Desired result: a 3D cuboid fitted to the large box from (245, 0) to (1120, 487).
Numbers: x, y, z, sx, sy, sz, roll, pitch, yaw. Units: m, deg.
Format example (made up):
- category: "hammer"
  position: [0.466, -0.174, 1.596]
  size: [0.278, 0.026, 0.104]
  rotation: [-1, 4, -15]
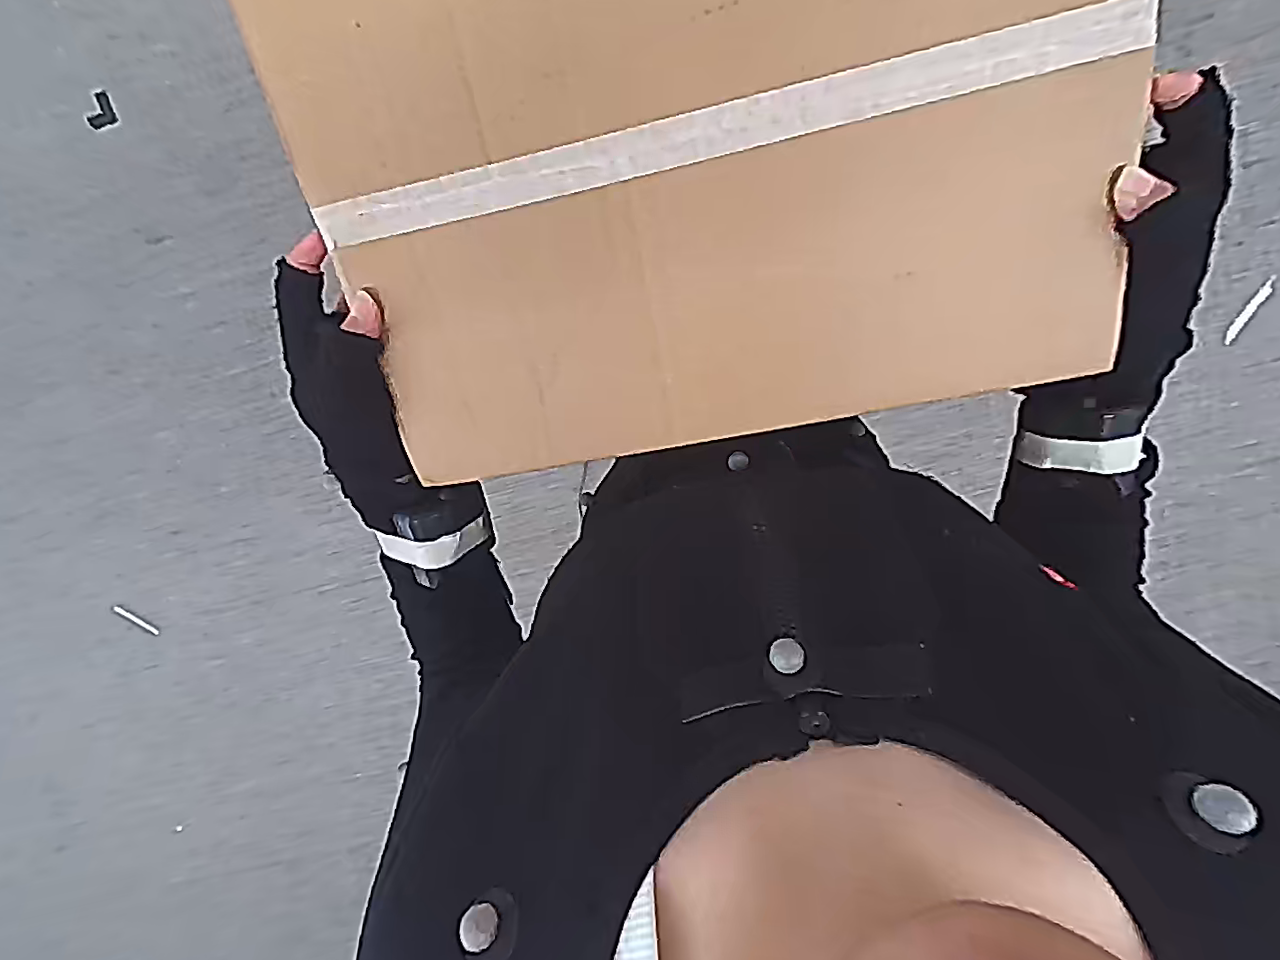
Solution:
- category: "large box"
  position: [0.035, -0.226, 0.413]
  size: [0.408, 0.320, 0.320]
  rotation: [-9, 112, 7]
